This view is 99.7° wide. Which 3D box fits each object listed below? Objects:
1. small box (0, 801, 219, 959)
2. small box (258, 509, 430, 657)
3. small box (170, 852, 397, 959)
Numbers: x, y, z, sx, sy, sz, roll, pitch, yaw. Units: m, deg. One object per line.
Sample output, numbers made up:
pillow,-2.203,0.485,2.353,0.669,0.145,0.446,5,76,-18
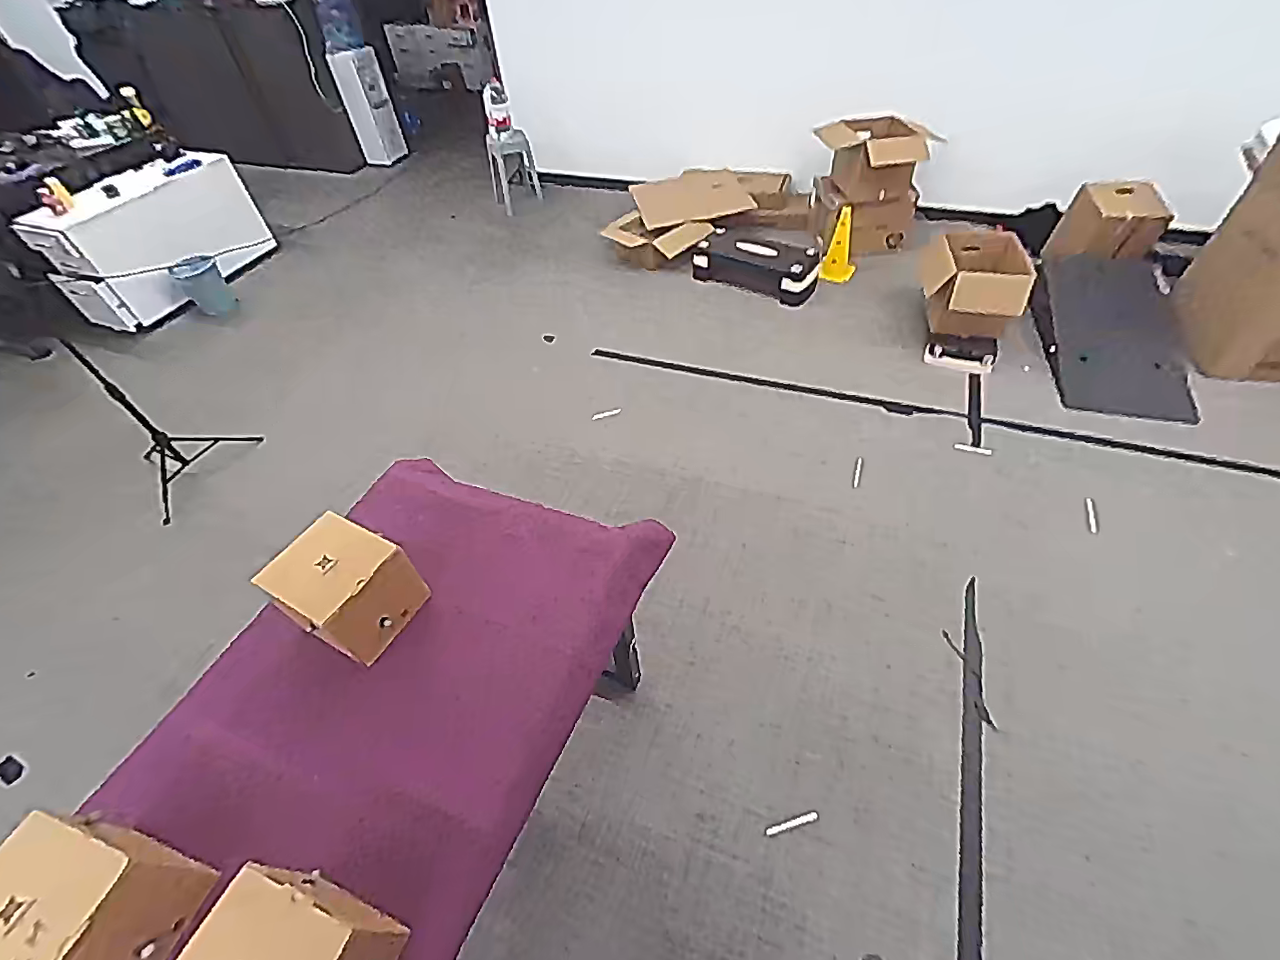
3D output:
small box,-0.694,0.533,0.670,0.179,0.176,0.168,12,51,14
small box,-0.515,0.187,0.964,0.179,0.176,0.168,21,54,19
small box,-0.408,0.568,0.614,0.168,0.176,0.179,15,50,17
